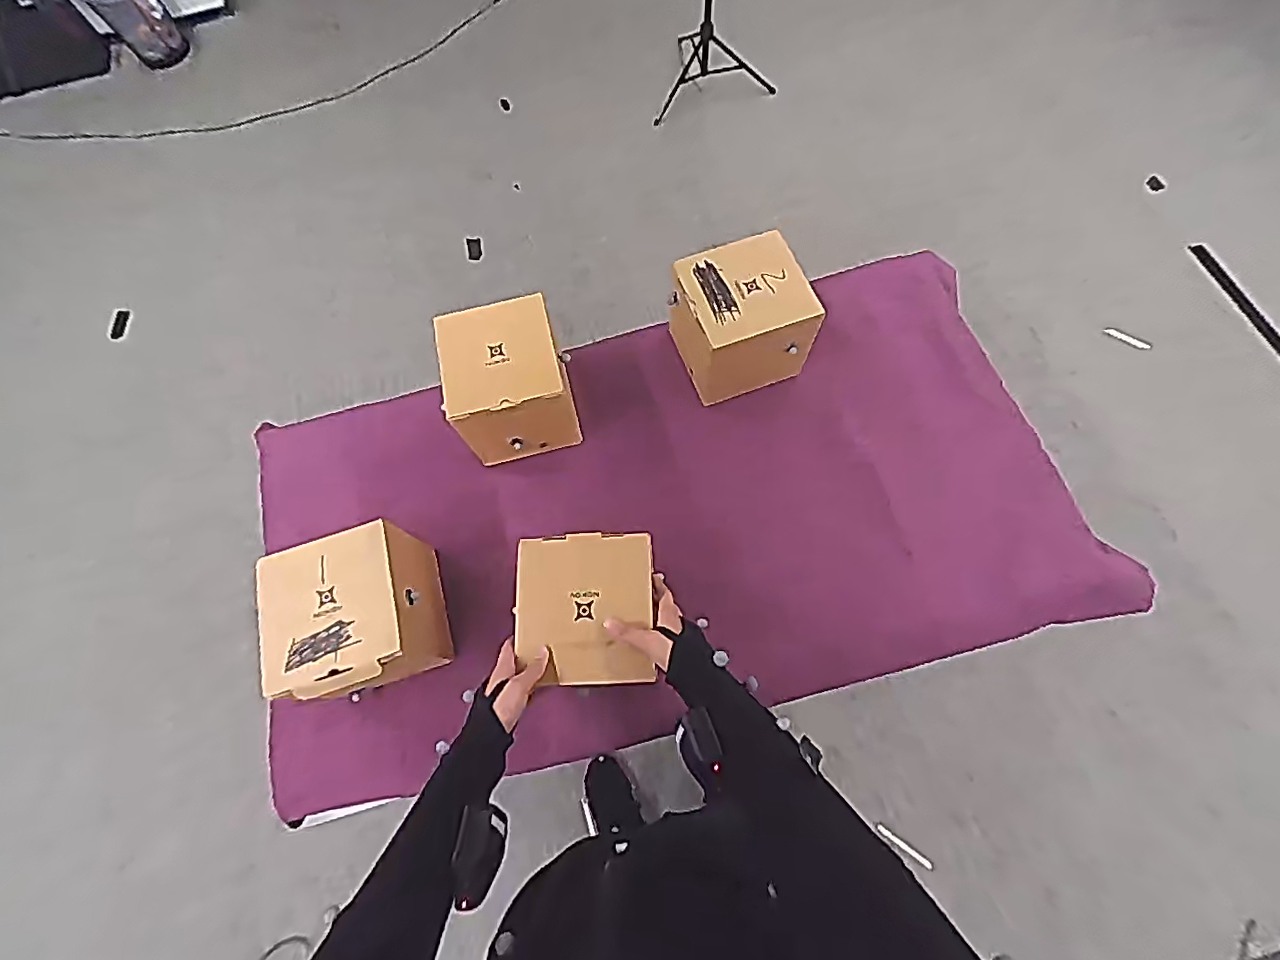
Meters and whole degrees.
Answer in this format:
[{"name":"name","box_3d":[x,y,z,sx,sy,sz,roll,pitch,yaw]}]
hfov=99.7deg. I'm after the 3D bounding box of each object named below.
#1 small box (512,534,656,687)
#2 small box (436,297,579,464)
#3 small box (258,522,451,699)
[{"name":"small box","box_3d":[-0.064,0.179,0.717,0.168,0.176,0.179,-3,70,2]},{"name":"small box","box_3d":[-0.199,-0.147,0.842,0.168,0.176,0.179,-14,70,-3]},{"name":"small box","box_3d":[-0.374,0.181,0.732,0.168,0.176,0.179,-18,68,-4]}]
